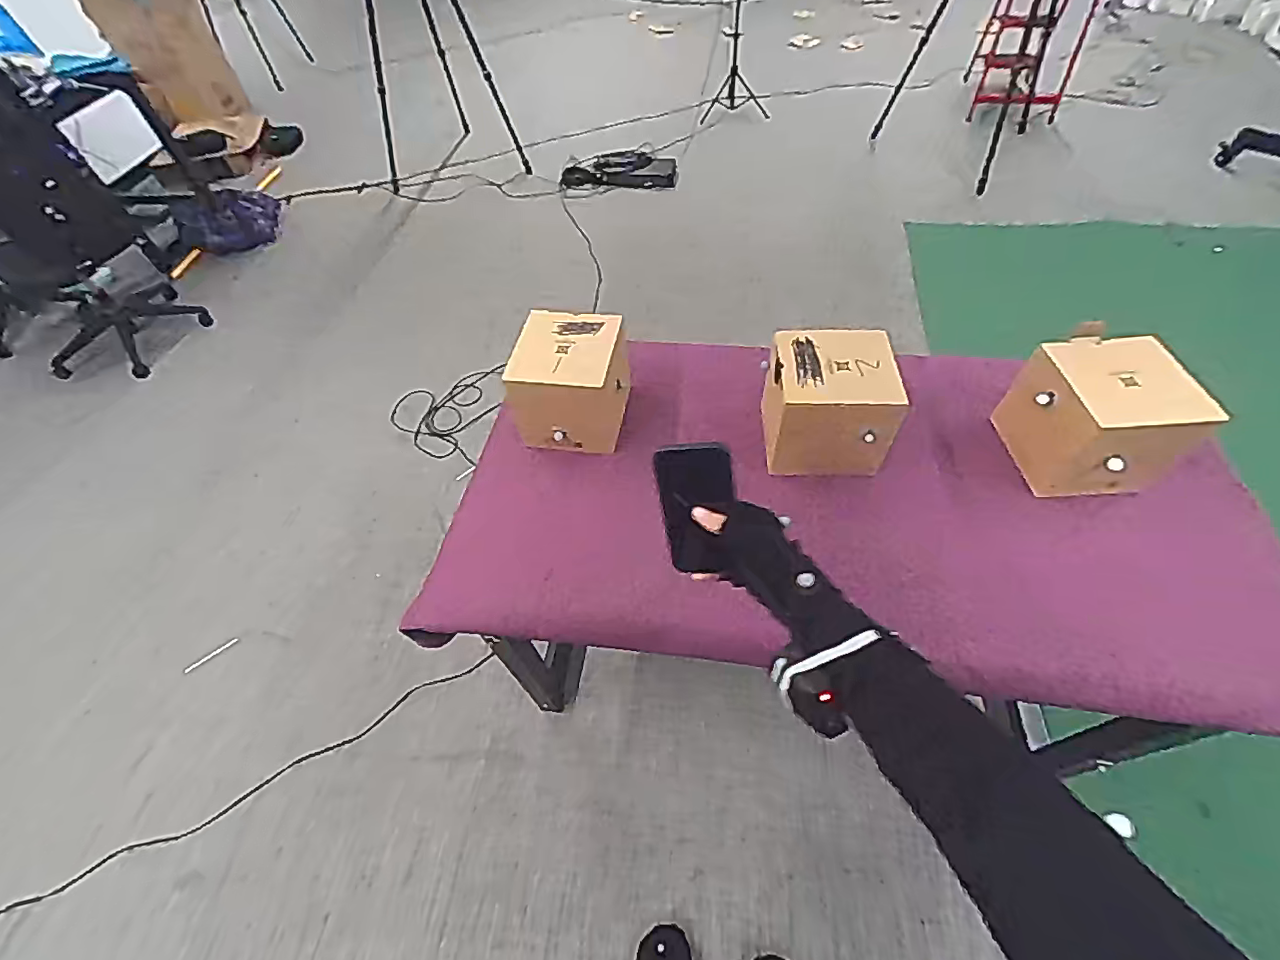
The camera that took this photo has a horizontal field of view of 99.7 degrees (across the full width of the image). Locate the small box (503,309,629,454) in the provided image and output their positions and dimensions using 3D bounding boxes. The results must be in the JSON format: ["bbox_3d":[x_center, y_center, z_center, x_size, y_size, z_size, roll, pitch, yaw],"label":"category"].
[{"bbox_3d":[-0.115,-0.170,0.938,0.168,0.176,0.179,6,56,9],"label":"small box"}]

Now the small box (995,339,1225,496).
[{"bbox_3d":[0.686,-0.087,0.819,0.168,0.176,0.179,-4,52,3],"label":"small box"}]
